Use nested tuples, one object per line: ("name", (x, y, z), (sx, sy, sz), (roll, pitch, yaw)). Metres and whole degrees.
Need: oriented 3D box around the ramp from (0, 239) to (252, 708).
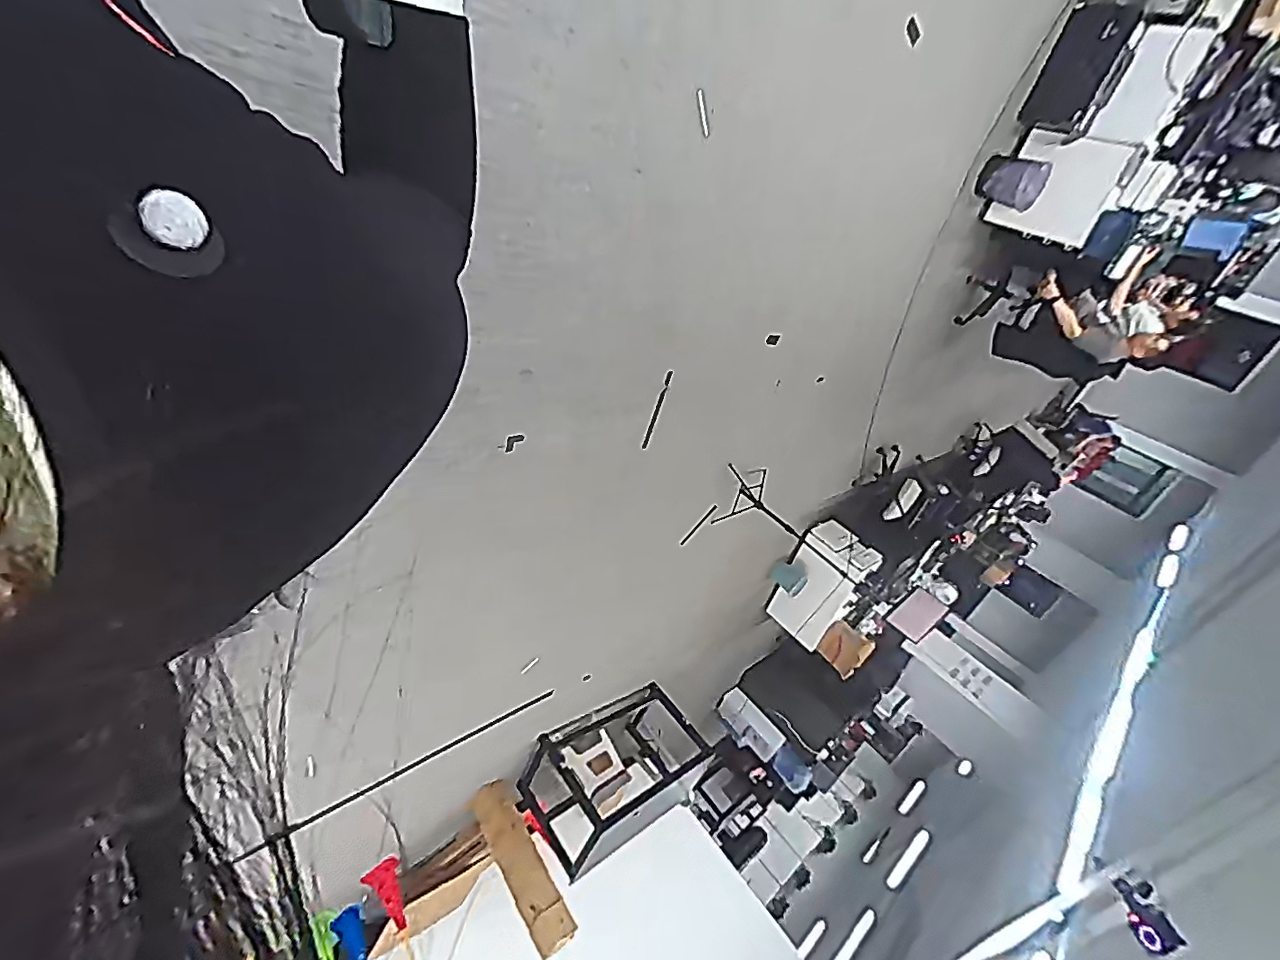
("ramp", (-1.207, 0.018, 1.169), (0.509, 0.206, 0.991), (-15, 133, -40))
